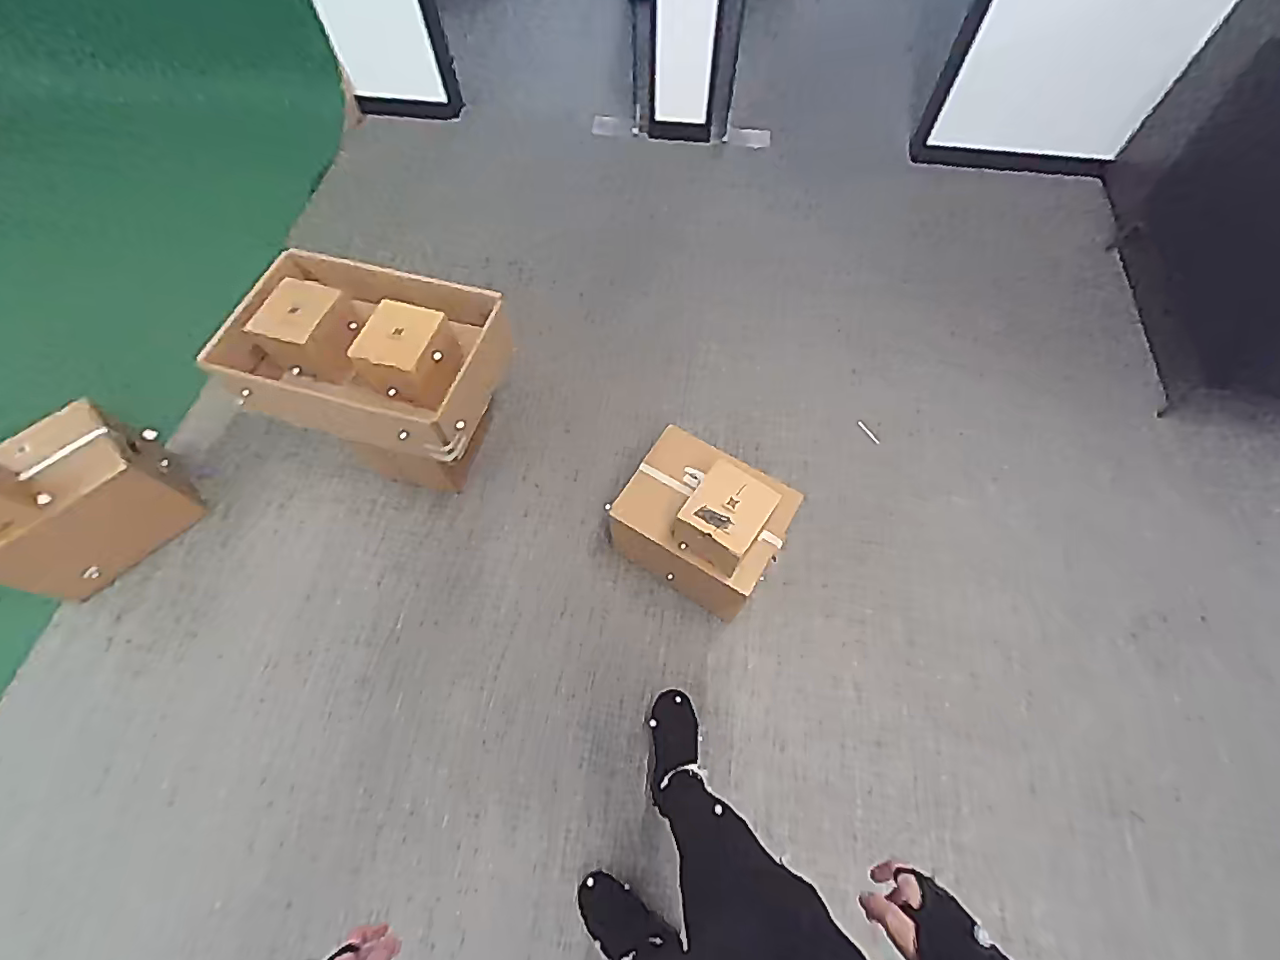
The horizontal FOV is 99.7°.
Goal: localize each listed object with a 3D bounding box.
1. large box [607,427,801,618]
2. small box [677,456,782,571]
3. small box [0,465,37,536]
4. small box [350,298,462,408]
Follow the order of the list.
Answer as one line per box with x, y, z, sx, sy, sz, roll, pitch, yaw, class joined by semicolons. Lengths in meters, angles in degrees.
0.168;0.126;1.493;0.408;0.320;0.320;29;67;14;large box
0.198;0.084;1.239;0.168;0.176;0.179;33;69;15;small box
-1.591;0.041;1.254;0.179;0.176;0.168;41;70;17;small box
-0.555;-0.304;1.313;0.168;0.176;0.179;15;66;7;small box
